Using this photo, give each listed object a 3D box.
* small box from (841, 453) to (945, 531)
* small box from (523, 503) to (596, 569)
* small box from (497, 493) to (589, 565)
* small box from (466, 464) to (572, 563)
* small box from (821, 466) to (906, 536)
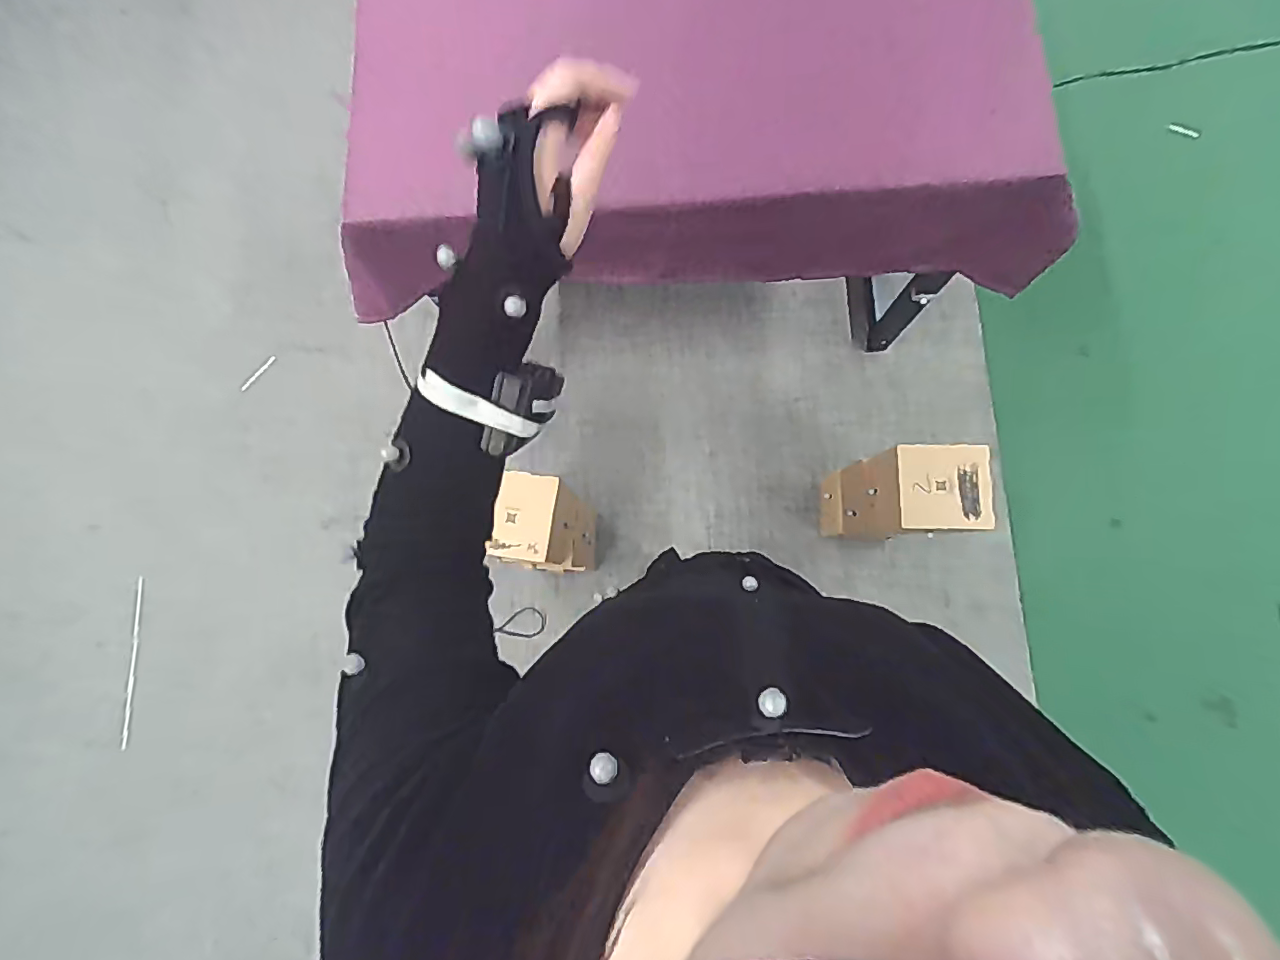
[{"bbox_3d":[0.588,0.034,1.282,0.179,0.176,0.168,-1,81,2],"label":"small box"},{"bbox_3d":[-0.212,0.154,1.475,0.168,0.176,0.179,1,80,3],"label":"small box"},{"bbox_3d":[-0.229,0.118,1.315,0.179,0.176,0.168,4,81,4],"label":"small box"},{"bbox_3d":[-0.247,0.078,1.155,0.168,0.176,0.179,8,80,5],"label":"small box"},{"bbox_3d":[0.588,0.060,1.443,0.179,0.176,0.168,2,80,3],"label":"small box"}]
